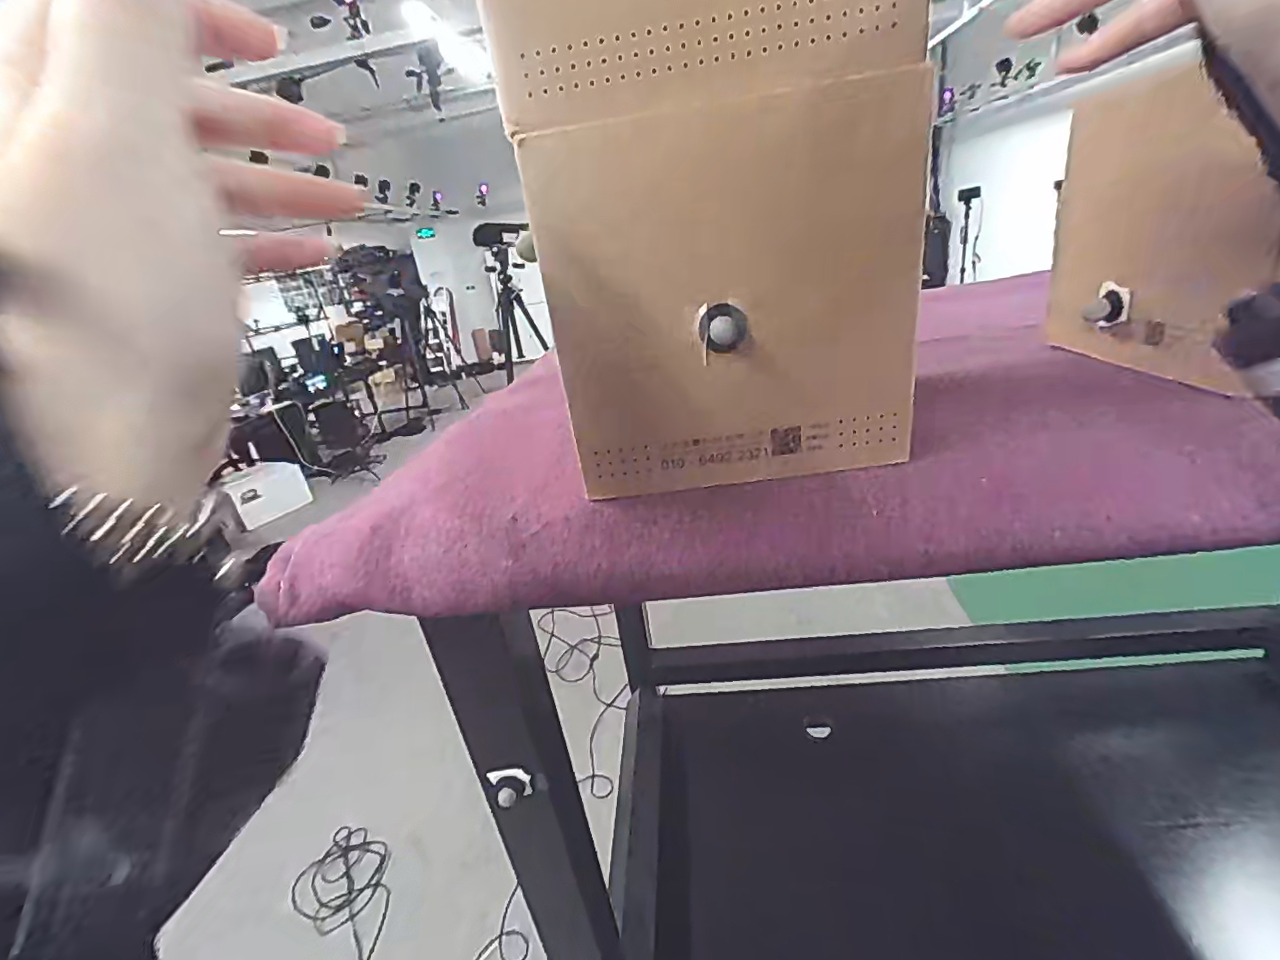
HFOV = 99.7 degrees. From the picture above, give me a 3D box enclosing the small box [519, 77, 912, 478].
[{"bbox_3d":[0.042,-0.106,0.325,0.168,0.176,0.179,-6,23,4],"label":"small box"}]
